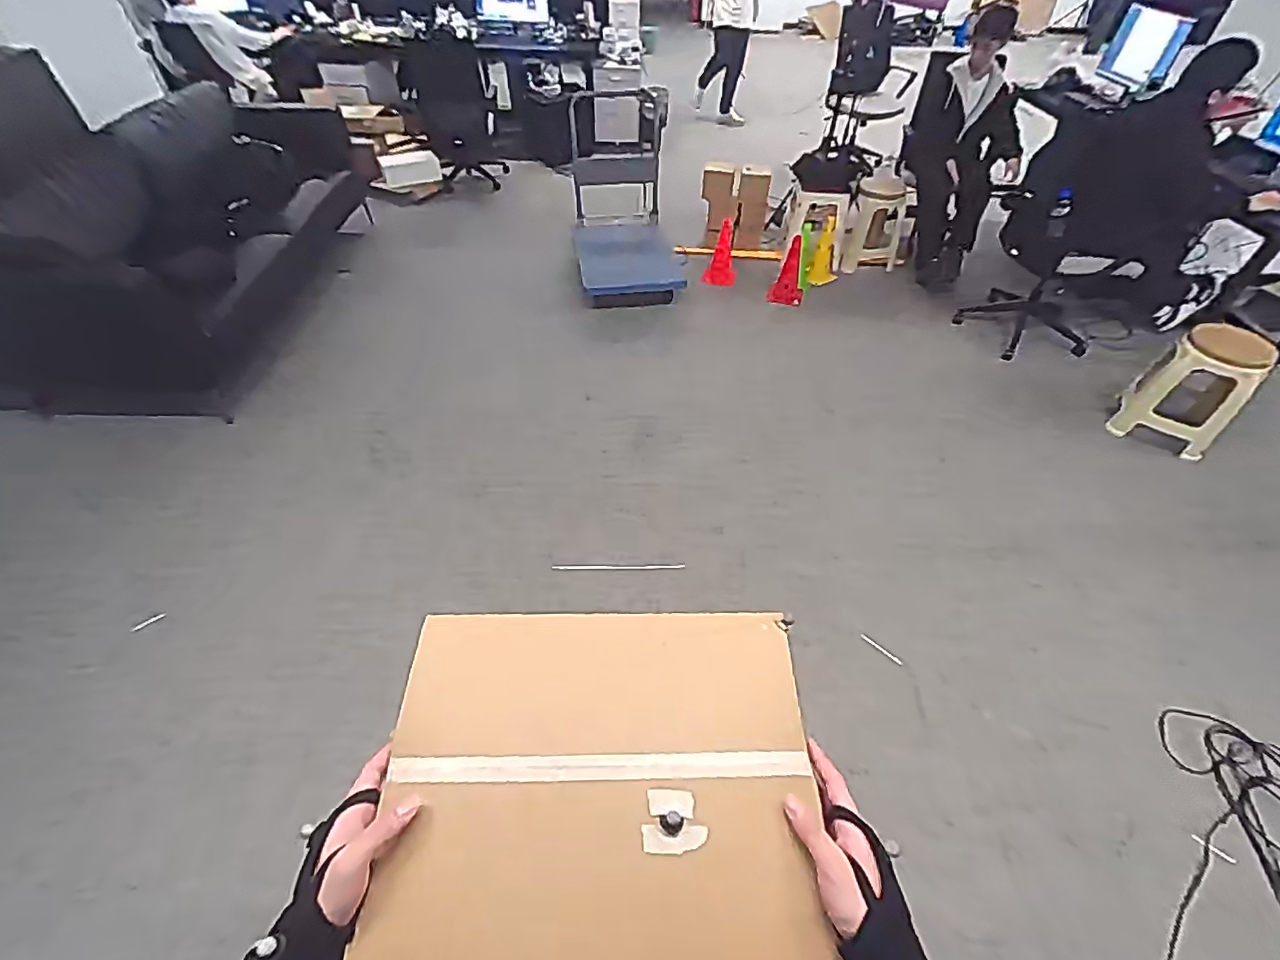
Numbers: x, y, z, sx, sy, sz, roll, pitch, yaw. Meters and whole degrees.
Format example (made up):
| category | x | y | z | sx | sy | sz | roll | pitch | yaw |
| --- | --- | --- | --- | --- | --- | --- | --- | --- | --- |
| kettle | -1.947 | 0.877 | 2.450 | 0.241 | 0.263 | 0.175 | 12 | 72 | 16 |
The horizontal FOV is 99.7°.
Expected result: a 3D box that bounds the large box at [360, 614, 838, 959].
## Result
| category | x | y | z | sx | sy | sz | roll | pitch | yaw |
| --- | --- | --- | --- | --- | --- | --- | --- | --- | --- |
| large box | -0.040 | 0.372 | 0.648 | 0.408 | 0.320 | 0.320 | 0 | 52 | -2 |
